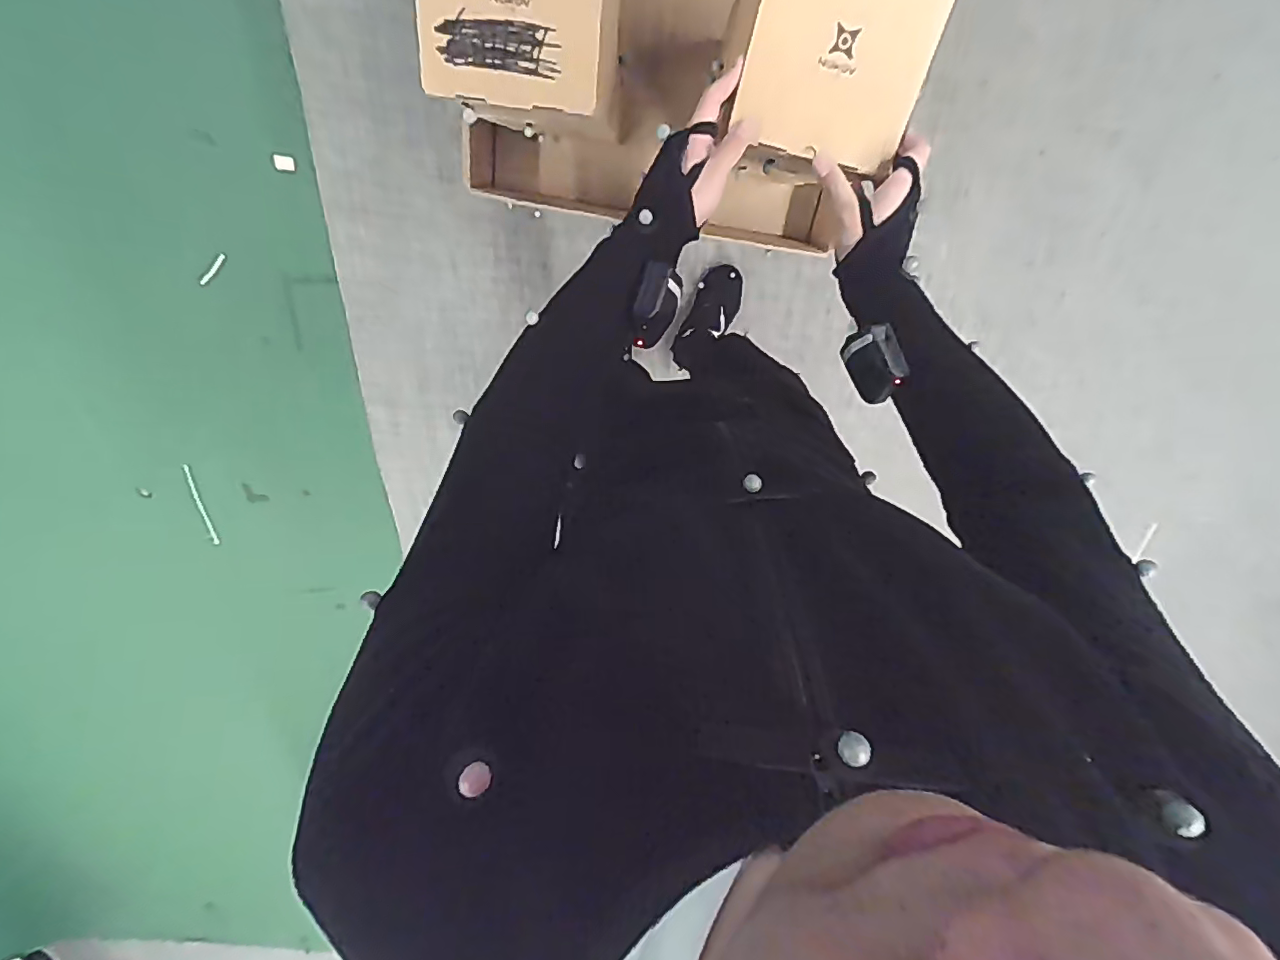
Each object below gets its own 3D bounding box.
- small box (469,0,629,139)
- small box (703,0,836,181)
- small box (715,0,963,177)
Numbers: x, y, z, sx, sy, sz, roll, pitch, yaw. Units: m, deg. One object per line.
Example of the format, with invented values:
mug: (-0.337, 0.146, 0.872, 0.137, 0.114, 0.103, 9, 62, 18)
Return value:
small box: (-0.106, -0.544, 0.673, 0.168, 0.176, 0.179, 7, 118, -1)
small box: (0.182, -0.498, 0.690, 0.168, 0.176, 0.179, 12, 119, -4)
small box: (0.182, -0.420, 0.542, 0.168, 0.176, 0.179, 11, 119, -7)
